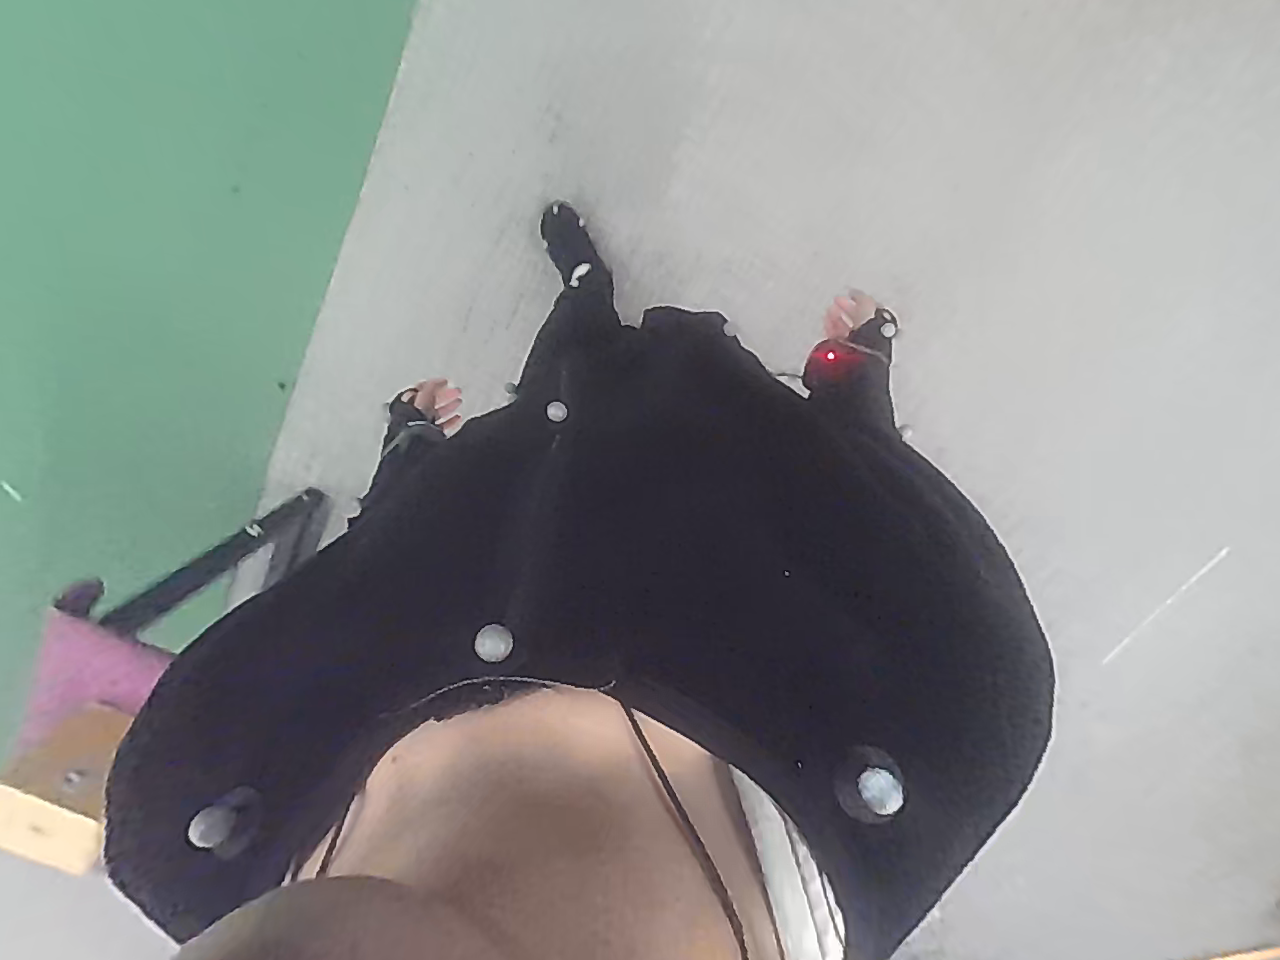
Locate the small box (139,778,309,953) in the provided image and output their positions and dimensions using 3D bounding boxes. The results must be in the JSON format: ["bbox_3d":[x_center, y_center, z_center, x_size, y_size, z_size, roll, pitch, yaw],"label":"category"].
[{"bbox_3d":[-0.735,0.685,0.972,0.168,0.176,0.179,25,109,-8],"label":"small box"}]
